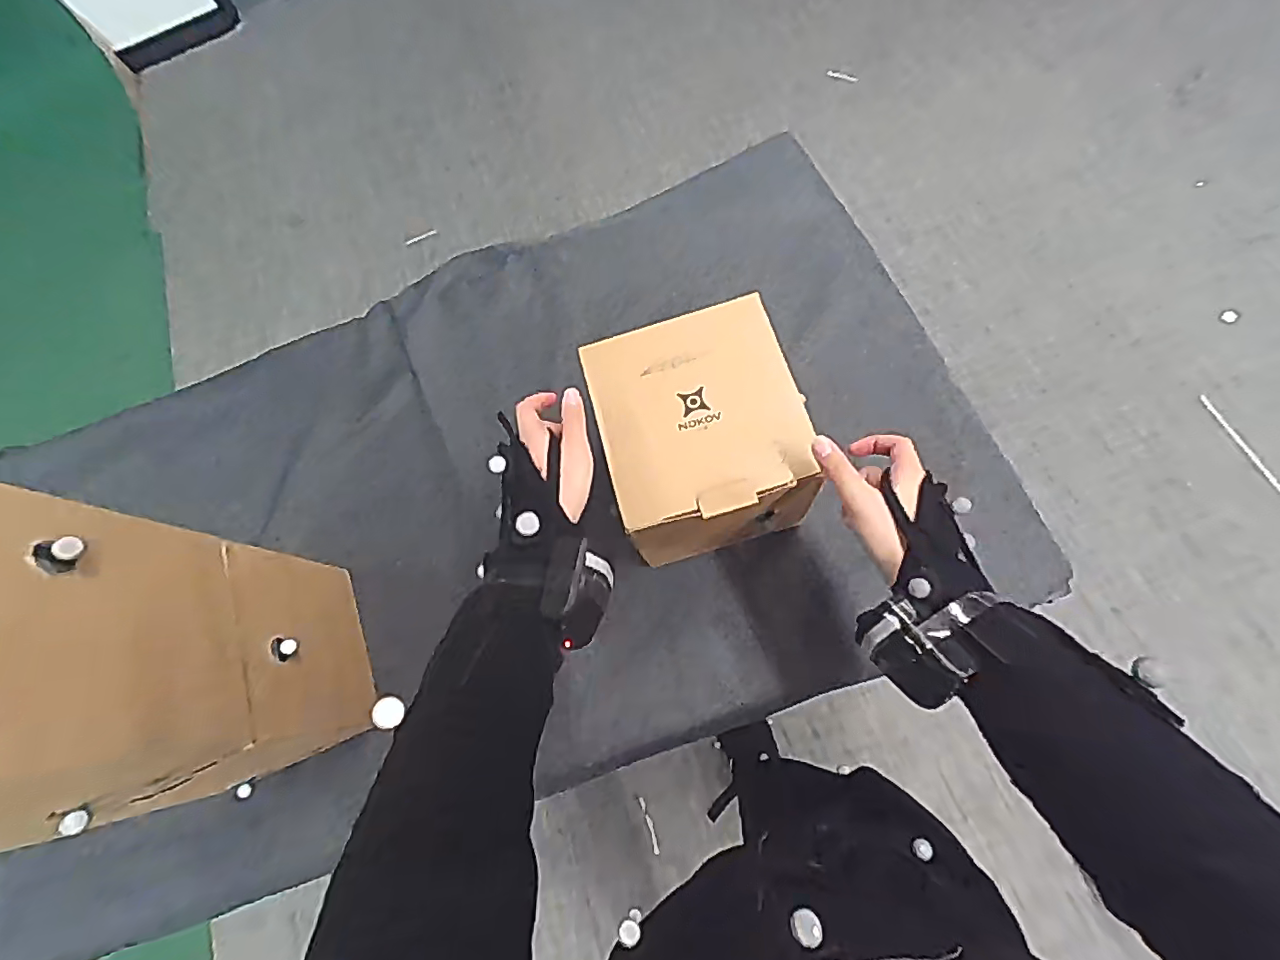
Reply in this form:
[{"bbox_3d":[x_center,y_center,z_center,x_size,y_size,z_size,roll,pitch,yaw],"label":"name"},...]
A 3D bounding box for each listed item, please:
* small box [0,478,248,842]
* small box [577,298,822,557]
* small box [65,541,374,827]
[{"bbox_3d":[-0.407,0.128,0.356,0.168,0.176,0.179,-27,70,0],"label":"small box"},{"bbox_3d":[0.054,-0.033,0.518,0.168,0.176,0.179,-16,70,2],"label":"small box"},{"bbox_3d":[-0.383,0.182,0.510,0.168,0.176,0.179,-24,69,0],"label":"small box"}]
